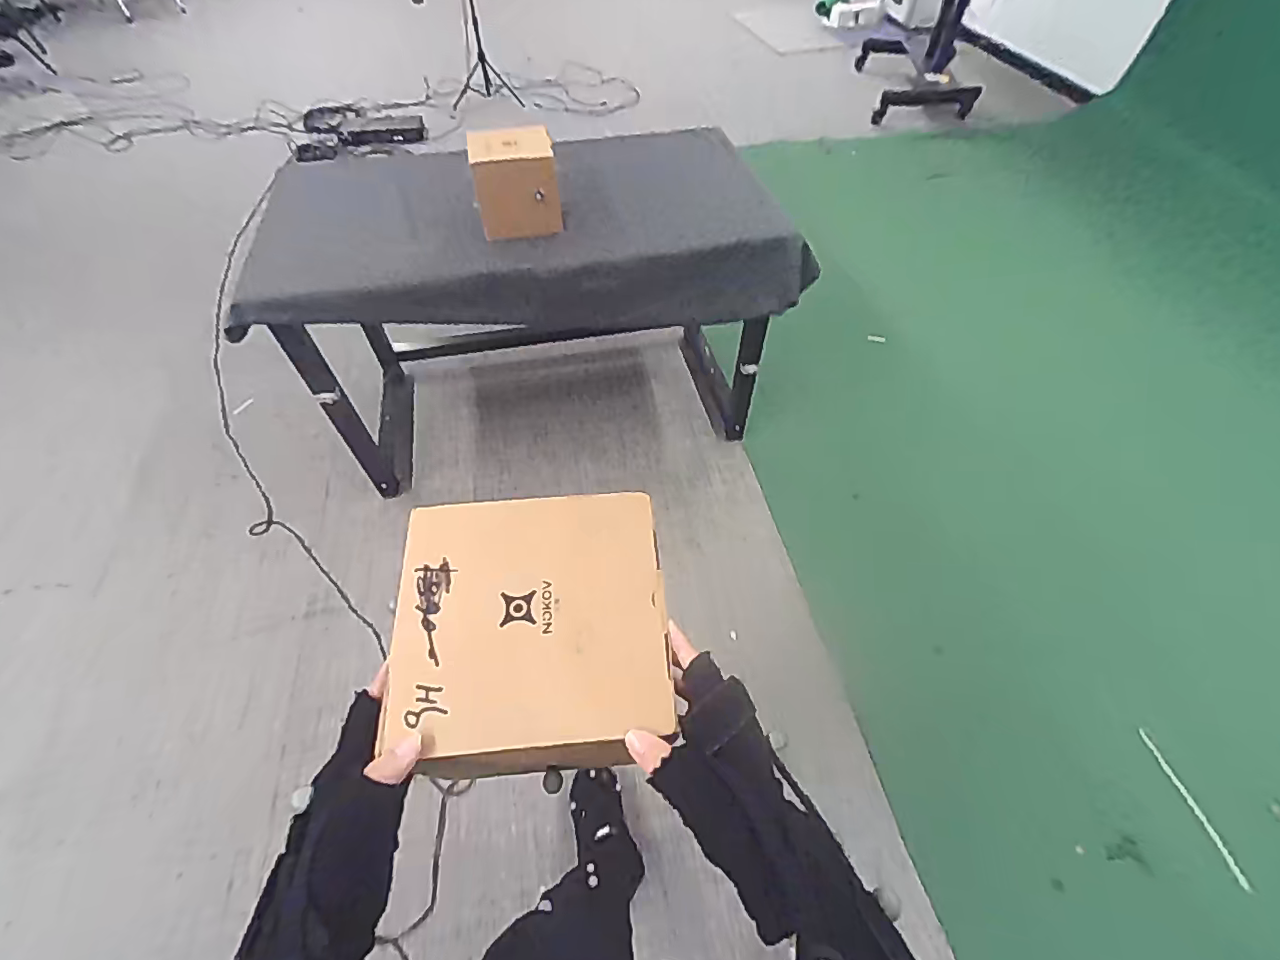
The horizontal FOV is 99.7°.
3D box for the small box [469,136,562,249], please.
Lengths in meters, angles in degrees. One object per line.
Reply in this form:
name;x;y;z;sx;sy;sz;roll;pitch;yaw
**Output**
small box;-0.276;-0.648;1.224;0.179;0.176;0.168;-11;52;-7
